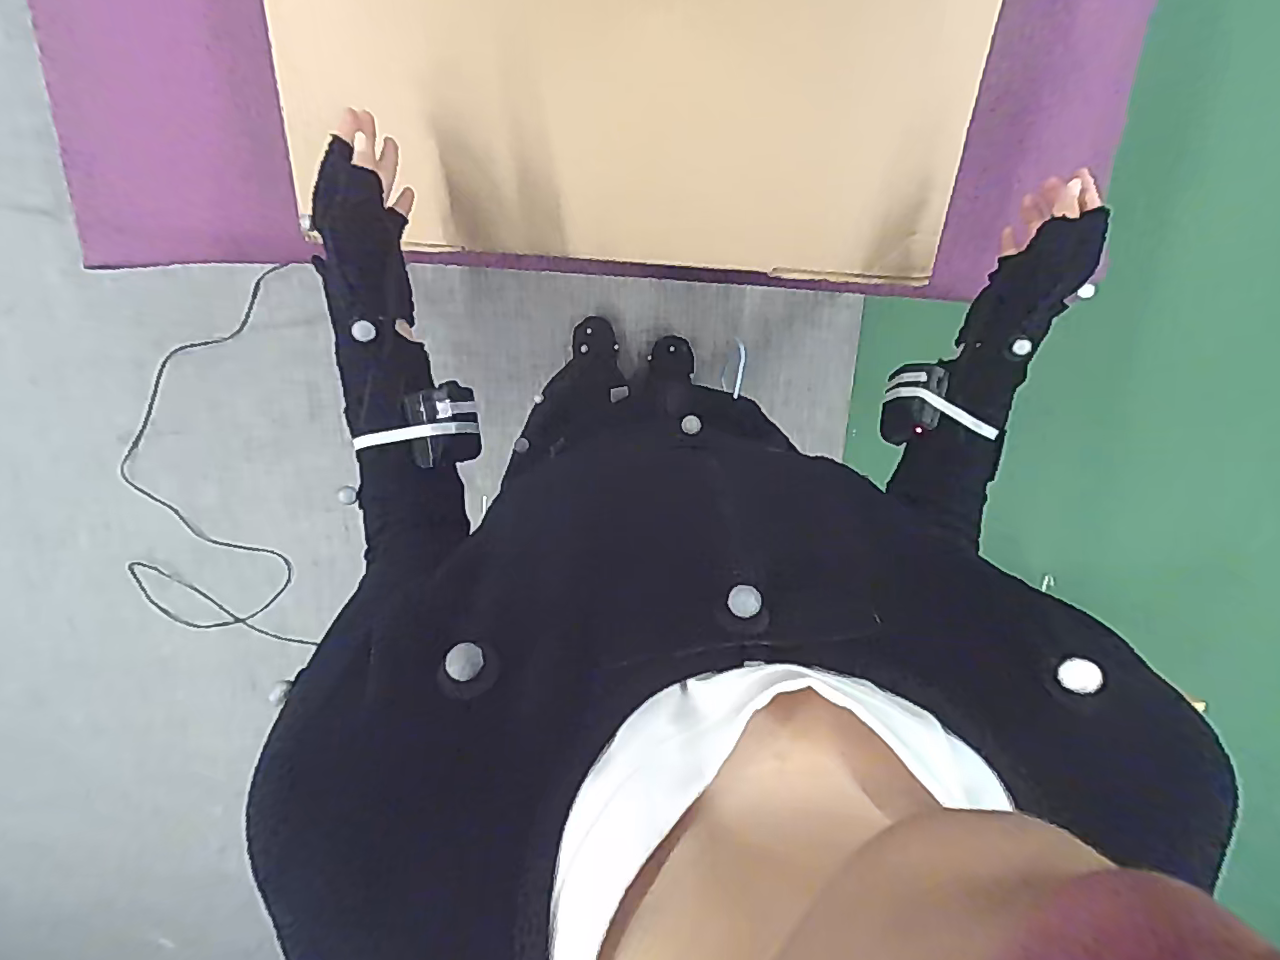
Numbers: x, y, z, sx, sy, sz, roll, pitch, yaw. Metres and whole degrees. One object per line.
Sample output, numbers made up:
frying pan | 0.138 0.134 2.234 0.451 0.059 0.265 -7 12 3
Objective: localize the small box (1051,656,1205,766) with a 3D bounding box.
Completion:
small box | 1.096 0.519 1.230 0.179 0.176 0.168 1 107 -1
